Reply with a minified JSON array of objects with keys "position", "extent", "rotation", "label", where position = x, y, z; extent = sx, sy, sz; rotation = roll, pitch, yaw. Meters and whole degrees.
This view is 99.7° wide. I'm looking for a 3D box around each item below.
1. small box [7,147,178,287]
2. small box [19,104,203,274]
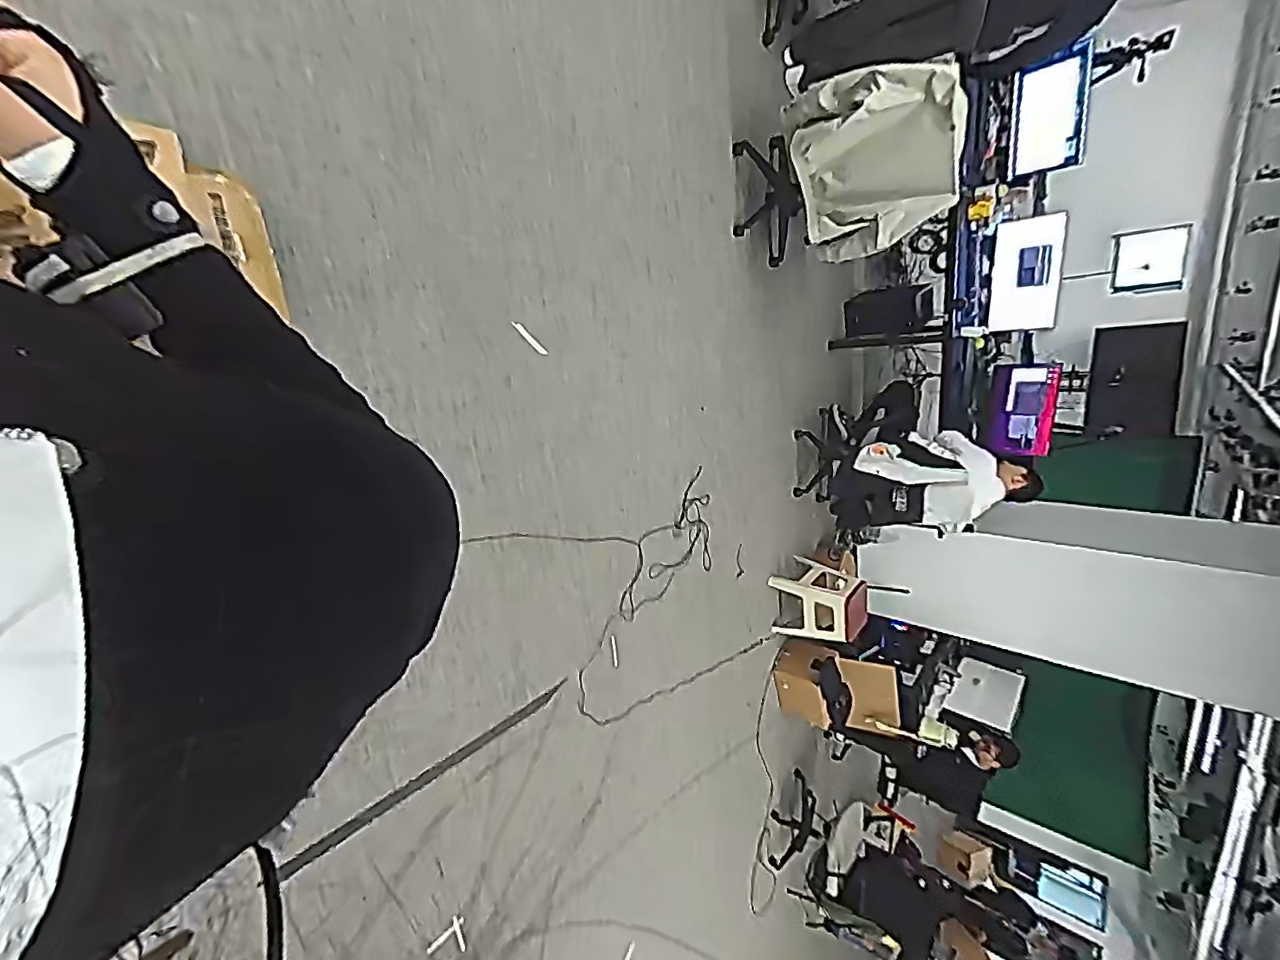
[{"position":[-0.933,-0.435,0.926],"extent":[0.168,0.176,0.179],"rotation":[-22,111,-45],"label":"small box"},{"position":[-0.804,-0.425,0.824],"extent":[0.168,0.176,0.179],"rotation":[-18,108,-46],"label":"small box"}]
